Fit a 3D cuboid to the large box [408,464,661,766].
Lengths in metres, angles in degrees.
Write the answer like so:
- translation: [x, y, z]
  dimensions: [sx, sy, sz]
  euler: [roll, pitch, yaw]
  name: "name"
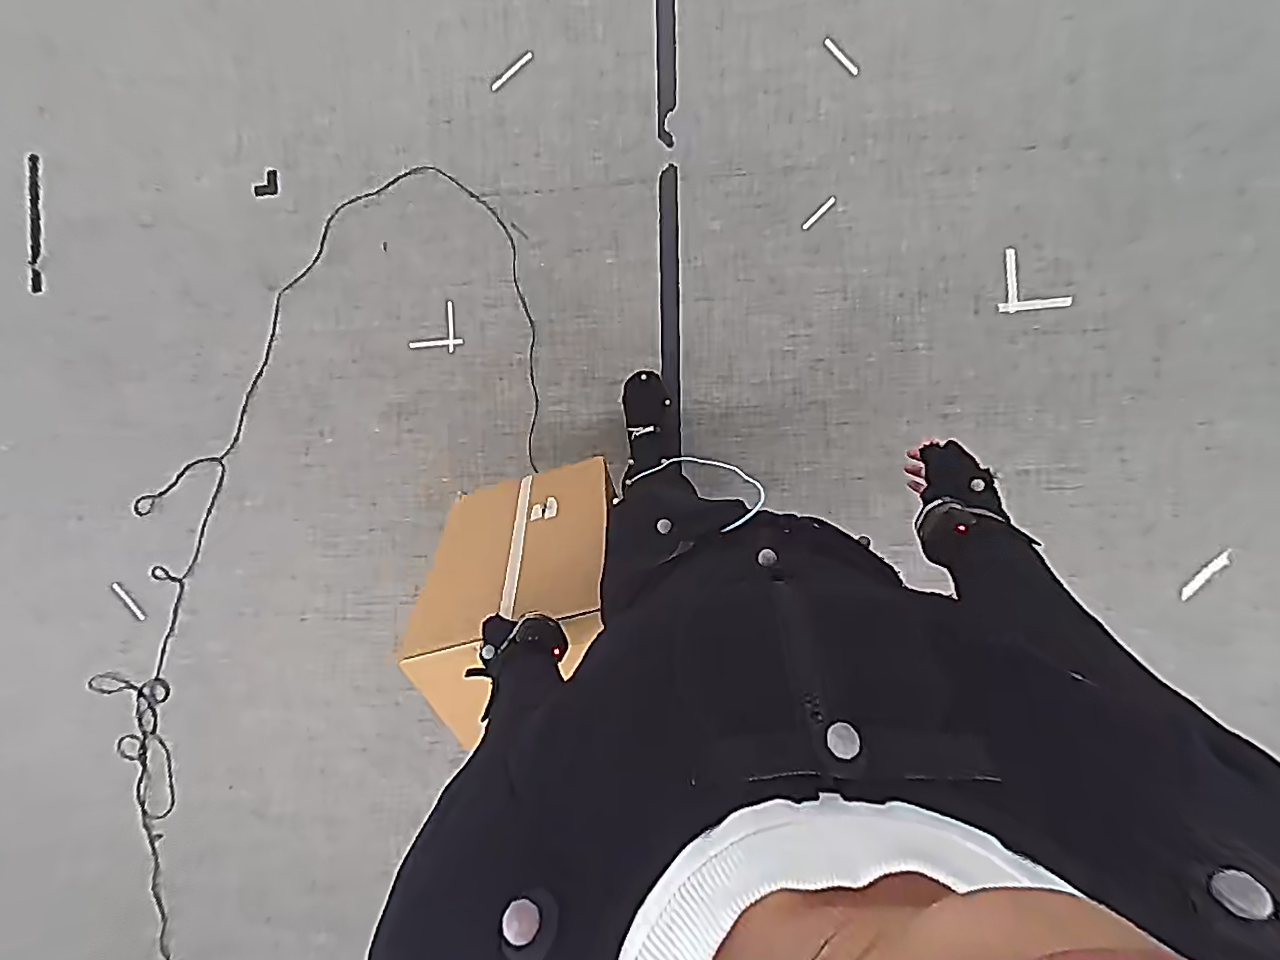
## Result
- translation: [-0.164, 0.231, 1.002]
  dimensions: [0.320, 0.408, 0.320]
  euler: [-15, 121, 4]
  name: "large box"
